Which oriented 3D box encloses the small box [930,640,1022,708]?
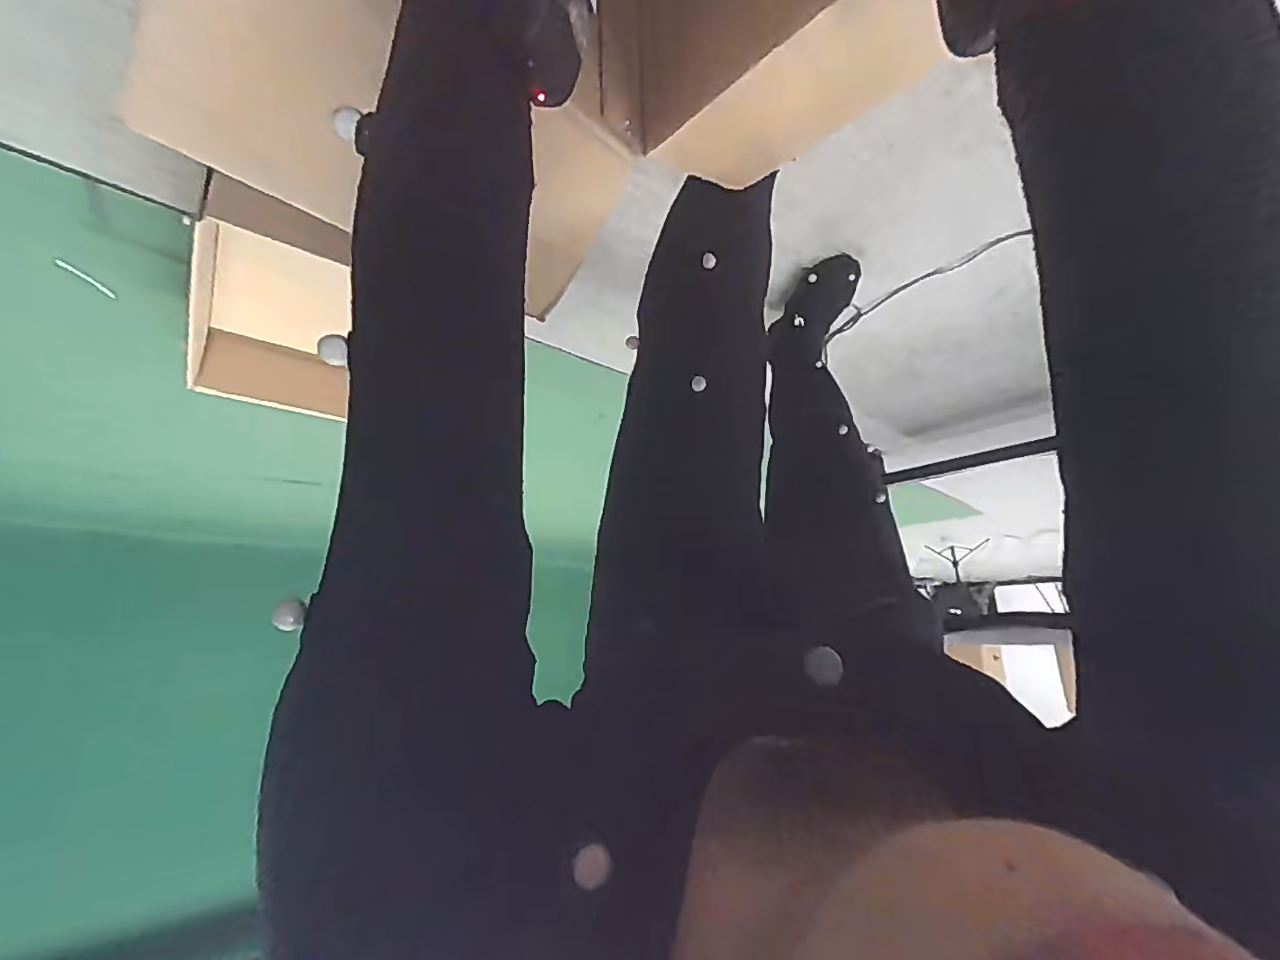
[{"bbox_3d":[0.958,0.550,1.552,0.168,0.176,0.179,11,159,-39],"label":"small box"}]
